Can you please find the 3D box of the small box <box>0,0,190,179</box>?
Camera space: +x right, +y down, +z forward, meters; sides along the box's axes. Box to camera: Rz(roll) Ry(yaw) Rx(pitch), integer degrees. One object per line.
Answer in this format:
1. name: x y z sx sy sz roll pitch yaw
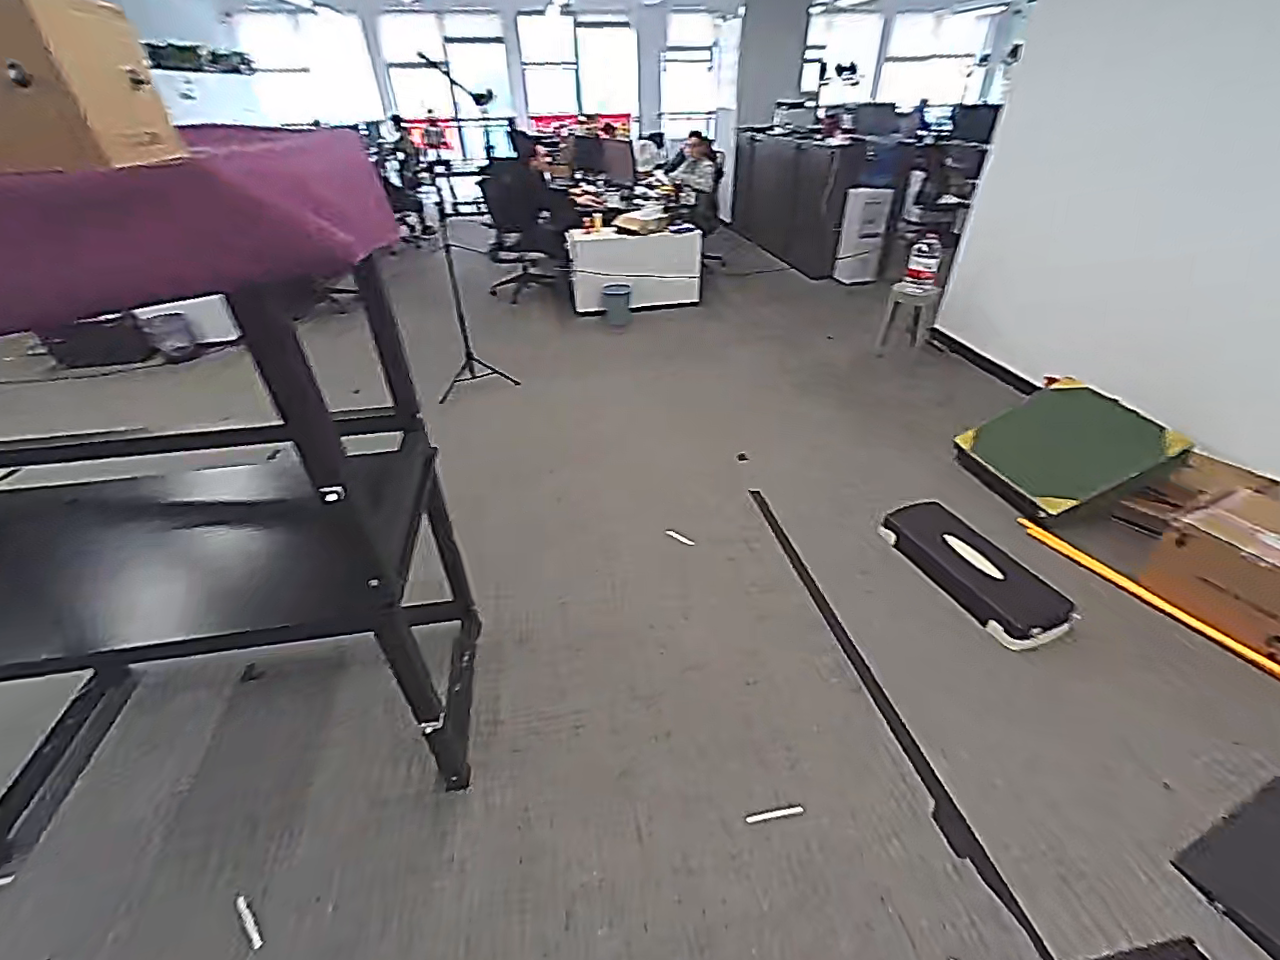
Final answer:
1. small box: -0.693 -0.461 0.635 0.179 0.176 0.168 -6 35 -5
